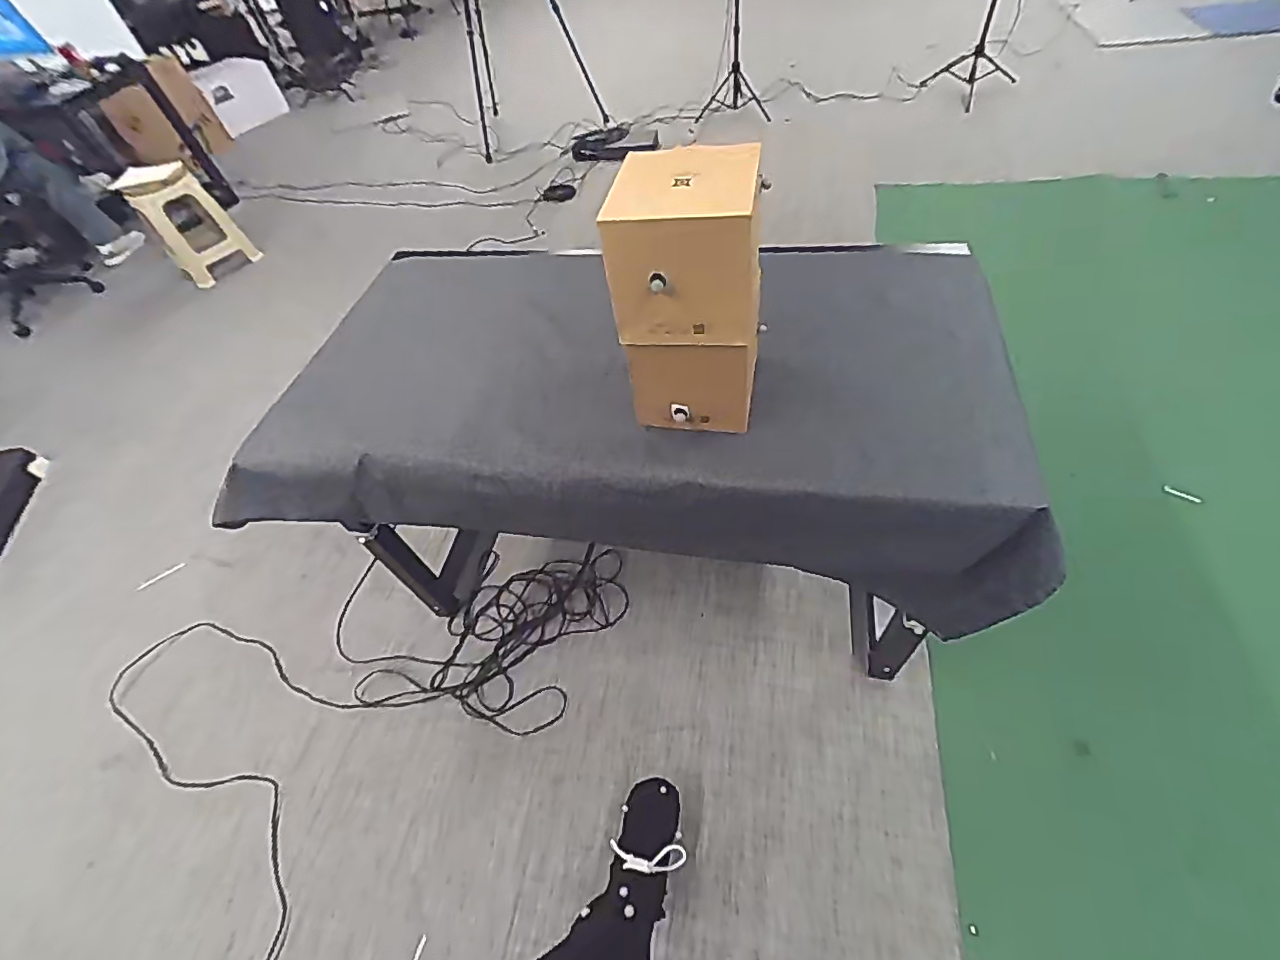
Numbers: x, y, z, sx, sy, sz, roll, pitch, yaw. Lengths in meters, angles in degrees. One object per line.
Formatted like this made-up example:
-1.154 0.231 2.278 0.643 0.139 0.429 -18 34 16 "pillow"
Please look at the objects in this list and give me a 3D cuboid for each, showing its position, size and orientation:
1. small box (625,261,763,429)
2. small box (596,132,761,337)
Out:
0.086 -0.199 0.791 0.168 0.176 0.179 4 55 13 "small box"
0.059 -0.290 0.659 0.168 0.176 0.179 4 53 13 "small box"
